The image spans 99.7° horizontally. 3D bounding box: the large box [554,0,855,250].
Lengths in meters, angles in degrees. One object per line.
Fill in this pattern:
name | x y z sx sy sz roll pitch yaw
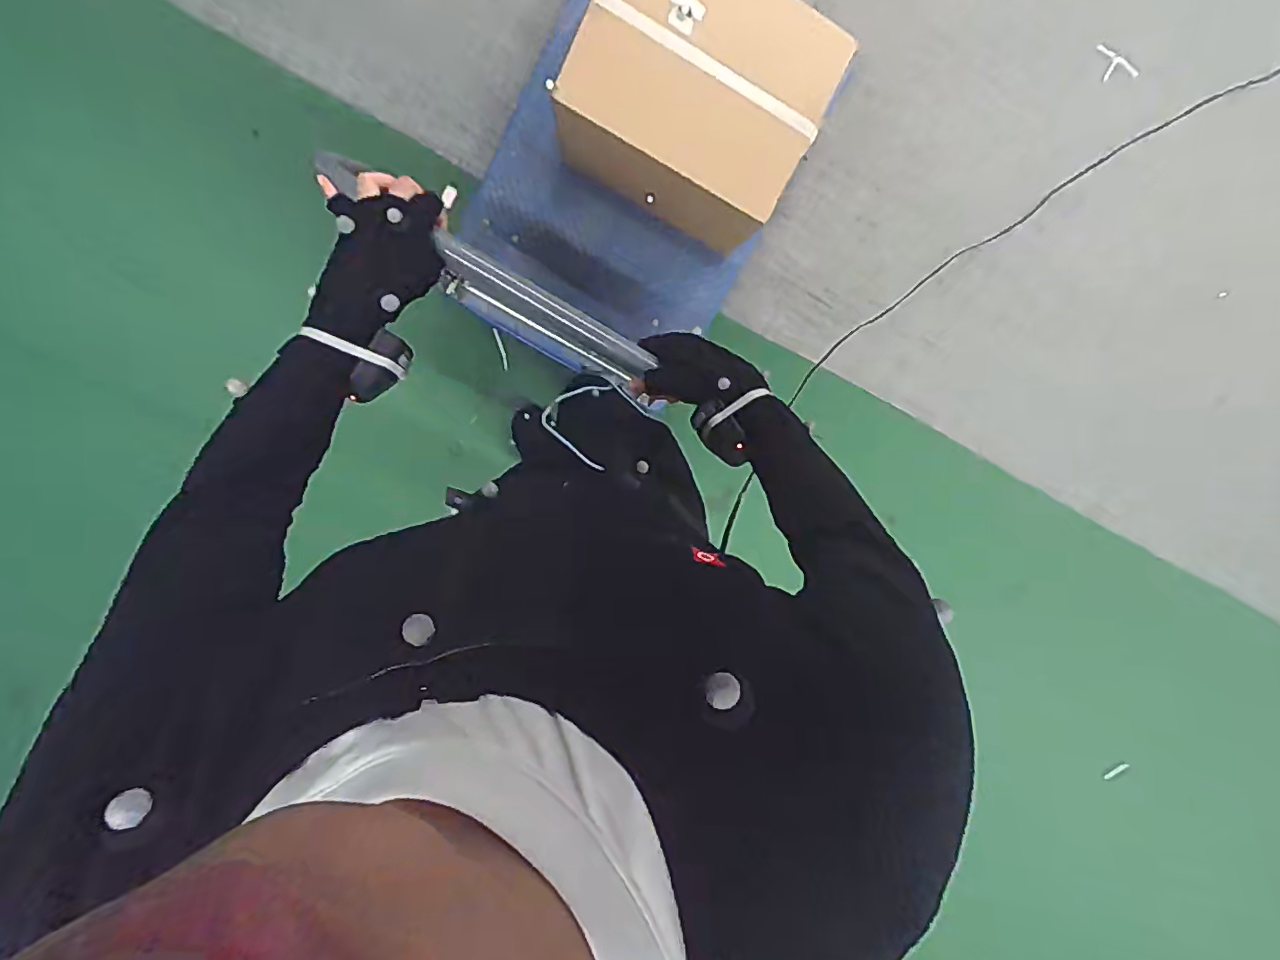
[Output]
large box | 0.099 -0.691 1.012 0.408 0.320 0.320 26 99 -8
